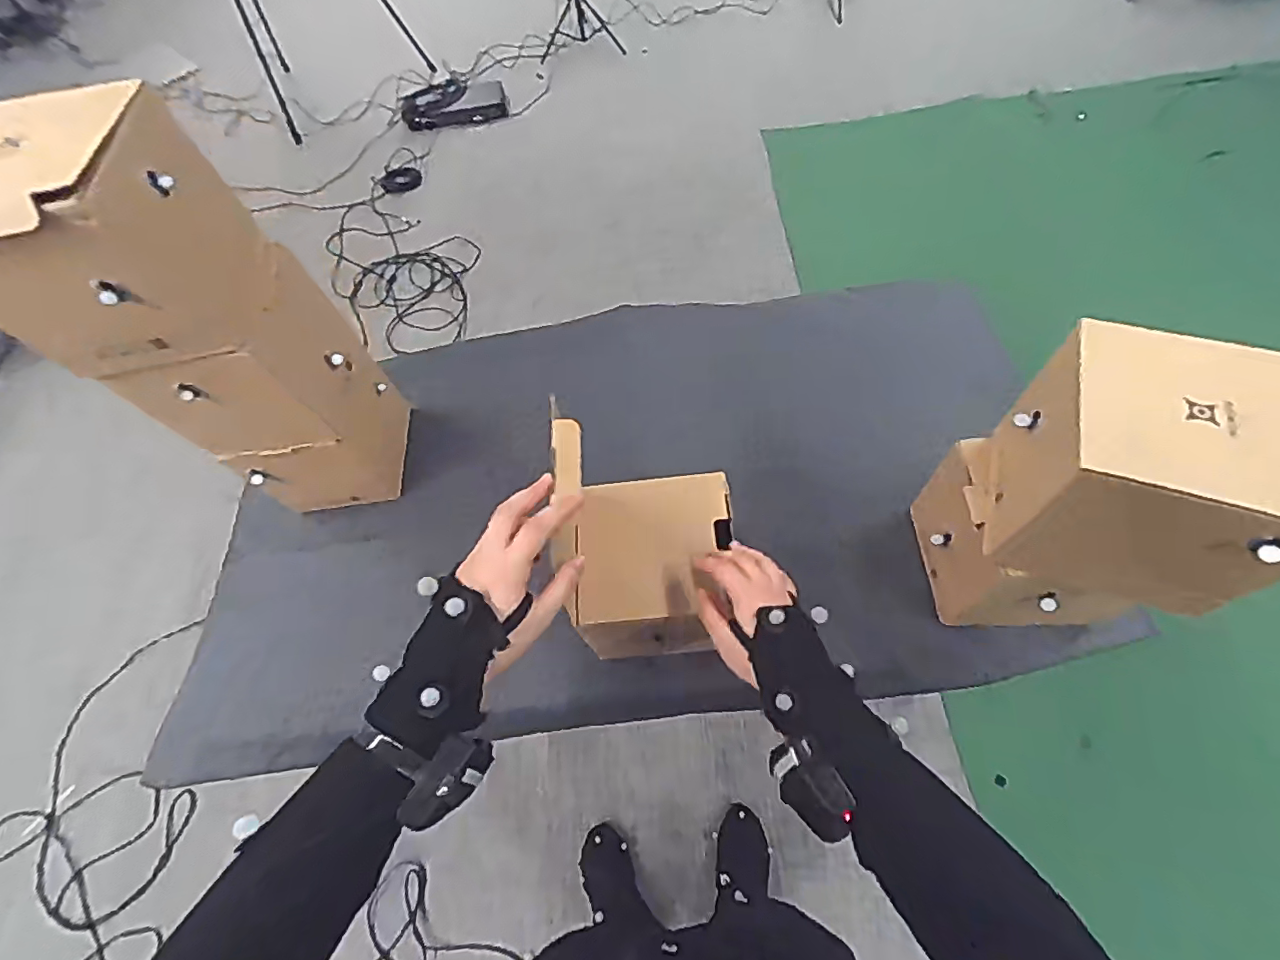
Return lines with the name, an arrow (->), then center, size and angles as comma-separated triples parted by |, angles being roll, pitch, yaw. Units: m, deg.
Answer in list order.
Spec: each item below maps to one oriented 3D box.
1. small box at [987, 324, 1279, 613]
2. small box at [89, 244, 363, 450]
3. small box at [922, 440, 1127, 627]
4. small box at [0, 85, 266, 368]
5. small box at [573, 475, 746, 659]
small box -> 0.434, -0.003, 0.470 | 0.179, 0.176, 0.168 | 17, 62, 15
small box -> -0.472, -0.149, 0.651 | 0.179, 0.176, 0.168 | -7, 63, 2
small box -> 0.446, 0.066, 0.619 | 0.179, 0.176, 0.168 | -3, 59, 6
small box -> -0.495, -0.223, 0.508 | 0.168, 0.176, 0.179 | -10, 61, -1
small box -> 0.024, 0.111, 0.646 | 0.179, 0.176, 0.168 | -6, 60, 5
